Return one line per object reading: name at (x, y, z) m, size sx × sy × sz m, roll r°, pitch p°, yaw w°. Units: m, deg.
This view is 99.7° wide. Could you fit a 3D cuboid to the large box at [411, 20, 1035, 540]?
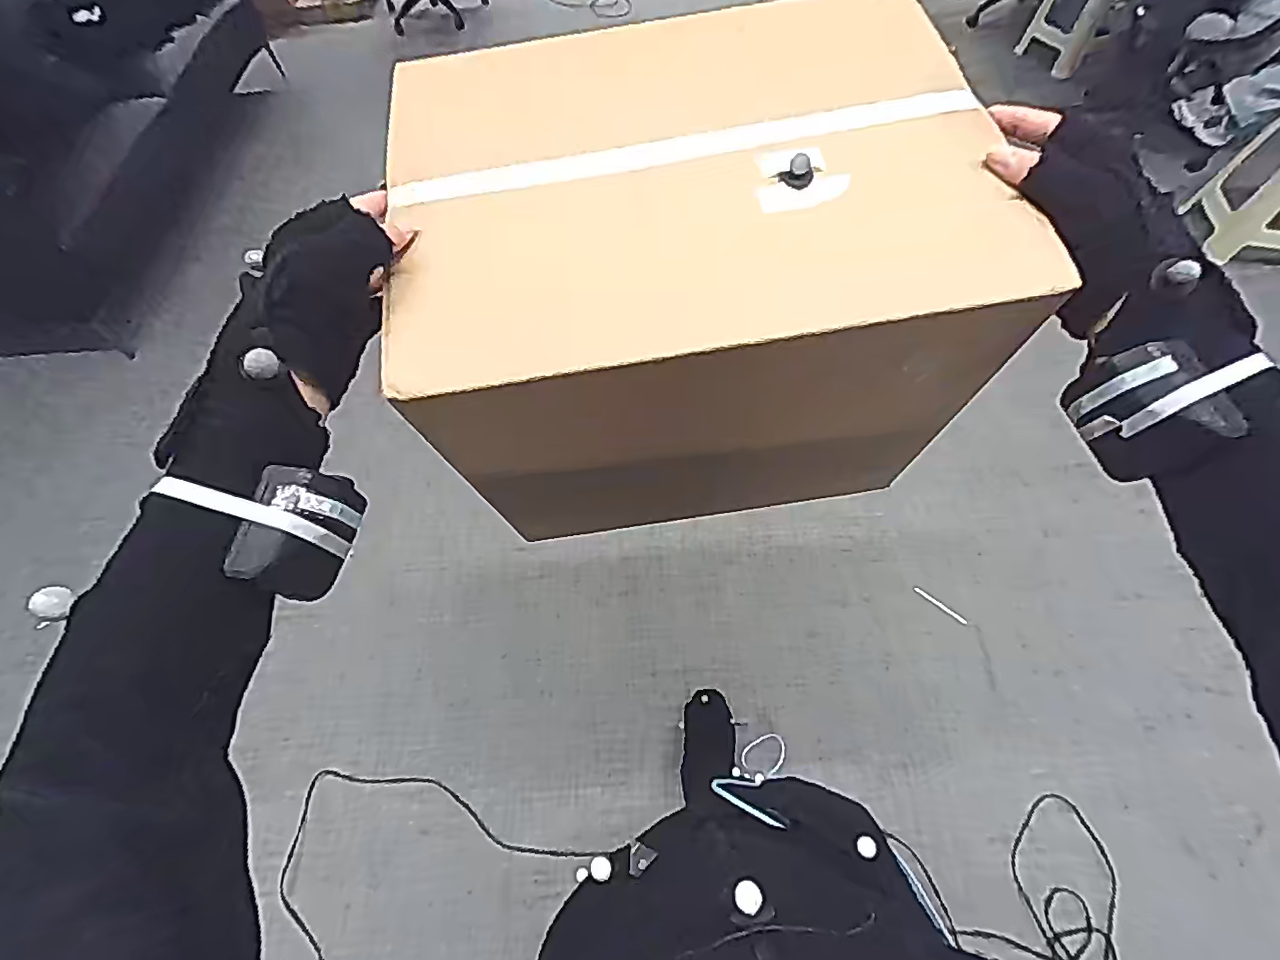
large box at (0.038, -0.158, 0.529) m, size 0.408 × 0.320 × 0.320 m, roll -9°, pitch 67°, yaw 0°
